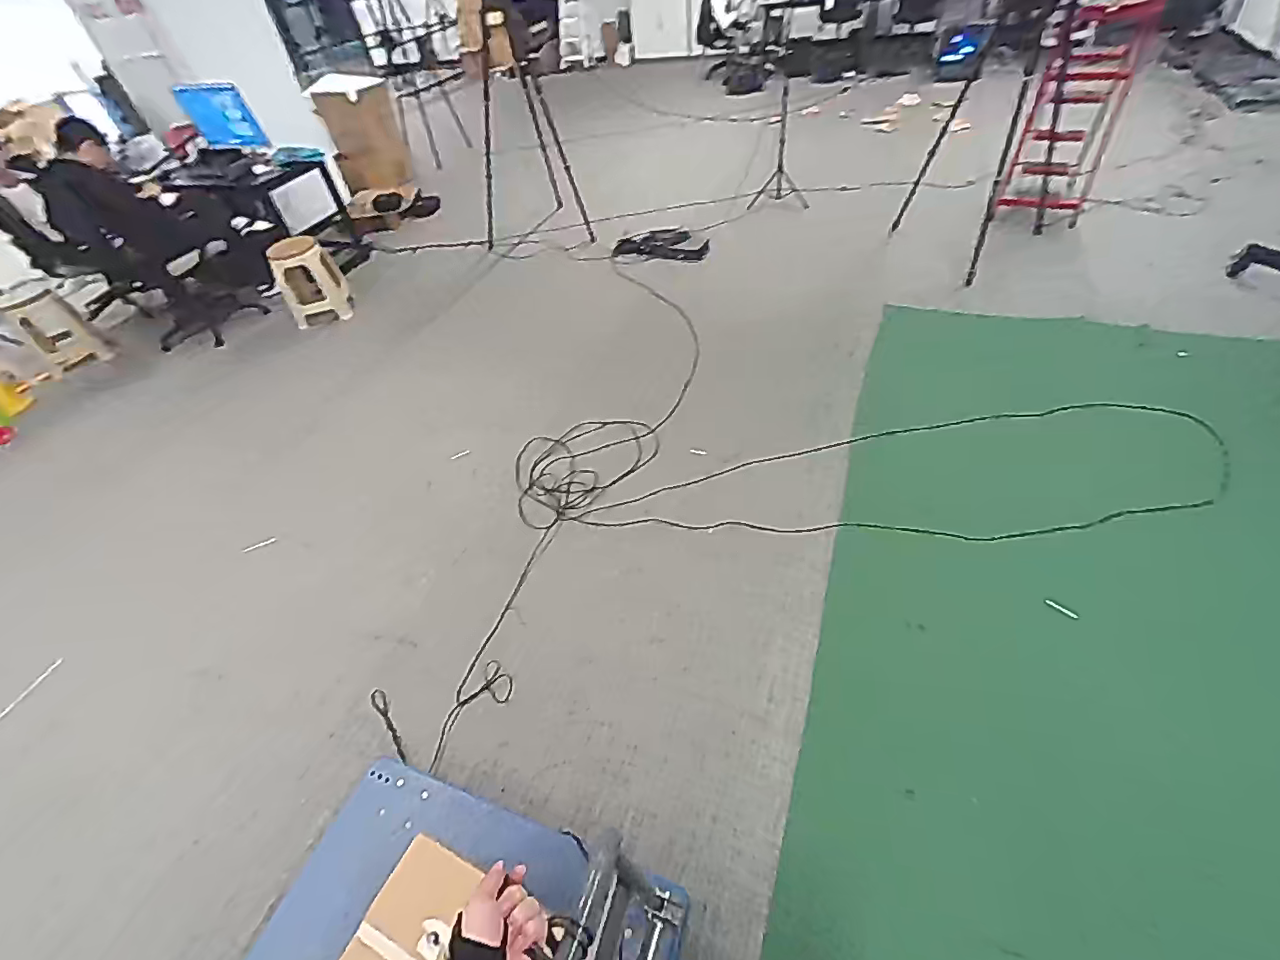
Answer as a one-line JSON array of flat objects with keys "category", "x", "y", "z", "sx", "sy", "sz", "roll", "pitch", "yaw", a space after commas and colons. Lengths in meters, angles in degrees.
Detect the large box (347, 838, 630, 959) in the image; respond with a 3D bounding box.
[{"category": "large box", "x": -0.275, "y": 0.922, "z": 0.962, "sx": 0.408, "sy": 0.320, "sz": 0.320, "roll": 15, "pitch": 50, "yaw": 22}]
